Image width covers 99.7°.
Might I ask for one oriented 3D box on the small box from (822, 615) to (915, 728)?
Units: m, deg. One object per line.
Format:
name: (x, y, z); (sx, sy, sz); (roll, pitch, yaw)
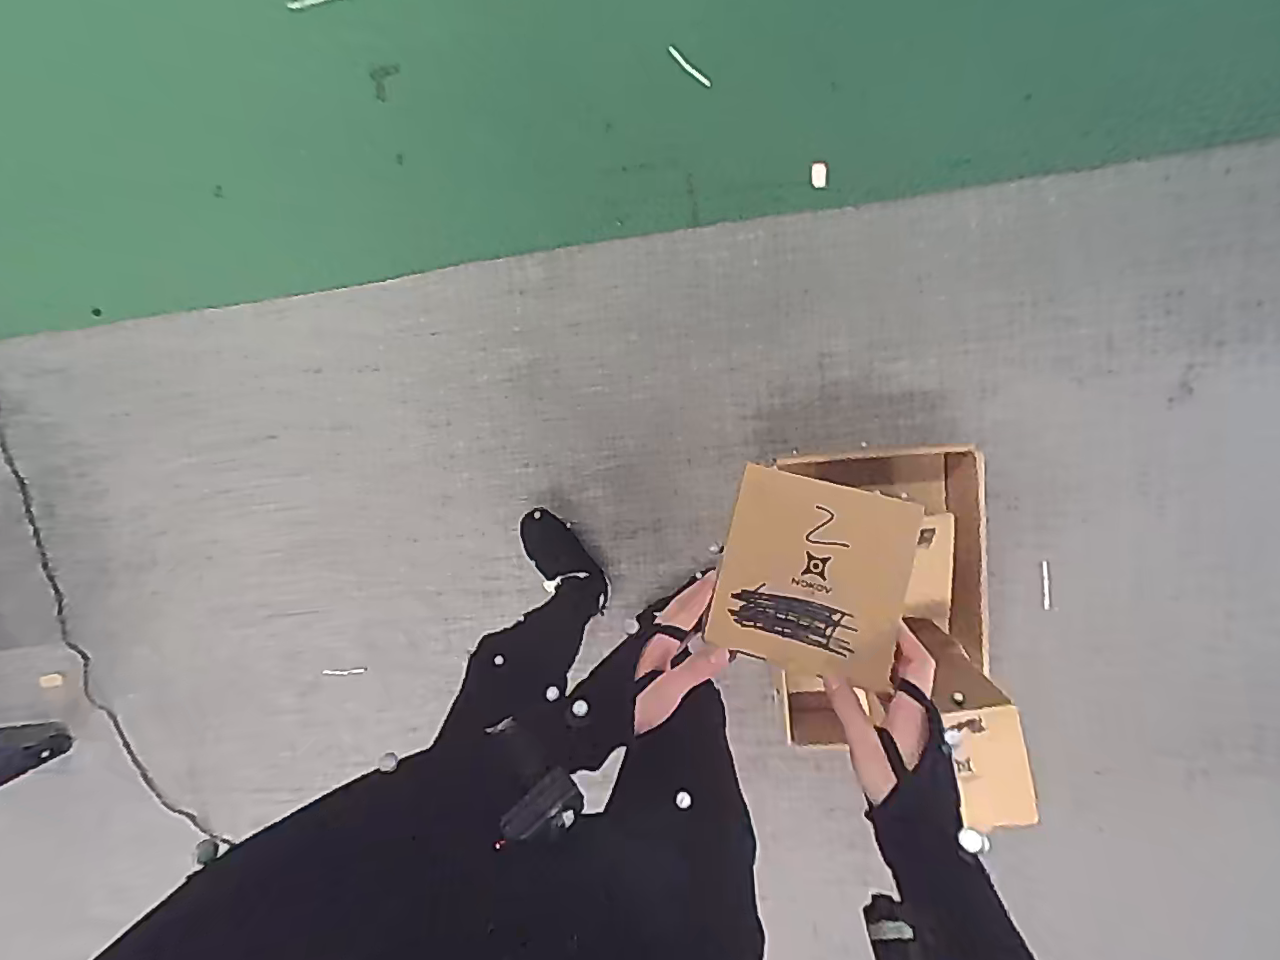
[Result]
small box: (0.497, 0.382, 1.136); (0.179, 0.176, 0.168); (-21, 92, 9)

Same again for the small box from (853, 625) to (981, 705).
small box: (0.505, 0.386, 0.970); (0.179, 0.176, 0.168); (-31, 90, 9)

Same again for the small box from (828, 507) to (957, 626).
small box: (0.434, 0.143, 0.956); (0.168, 0.176, 0.179); (0, 96, 7)

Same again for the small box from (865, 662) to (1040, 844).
small box: (0.456, 0.401, 0.813); (0.168, 0.176, 0.179); (-12, 94, 9)
